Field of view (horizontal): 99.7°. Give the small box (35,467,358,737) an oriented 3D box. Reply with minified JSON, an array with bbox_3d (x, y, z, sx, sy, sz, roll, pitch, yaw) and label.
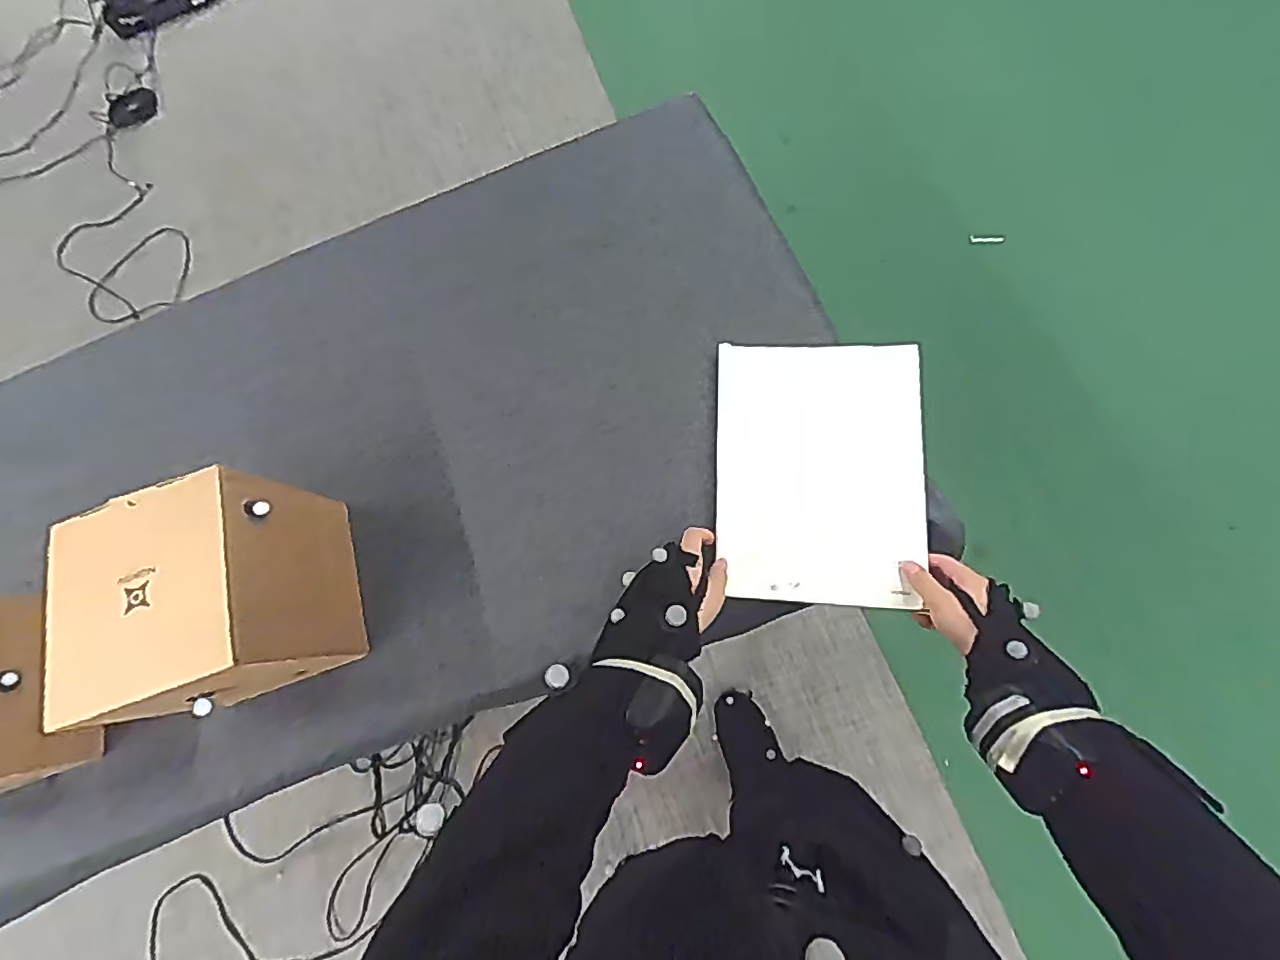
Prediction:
[{"bbox_3d":[-0.395,0.113,0.507,0.168,0.176,0.179,-20,72,3],"label":"small box"}]
